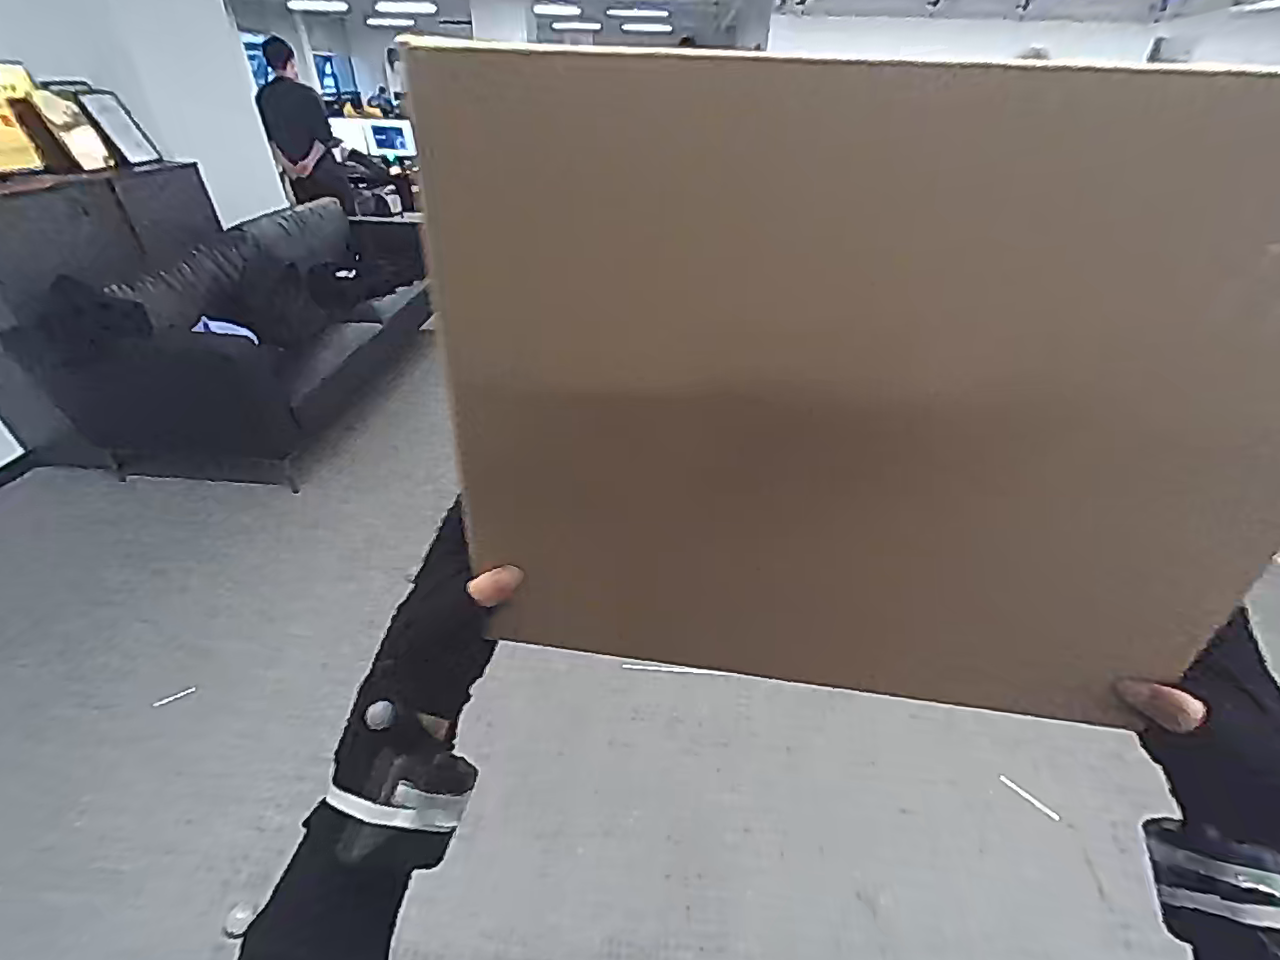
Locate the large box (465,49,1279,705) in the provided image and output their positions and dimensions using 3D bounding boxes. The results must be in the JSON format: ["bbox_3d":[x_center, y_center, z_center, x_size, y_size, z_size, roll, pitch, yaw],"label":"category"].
[{"bbox_3d":[0.130,-0.081,0.397,0.408,0.320,0.320,7,31,4],"label":"large box"}]
